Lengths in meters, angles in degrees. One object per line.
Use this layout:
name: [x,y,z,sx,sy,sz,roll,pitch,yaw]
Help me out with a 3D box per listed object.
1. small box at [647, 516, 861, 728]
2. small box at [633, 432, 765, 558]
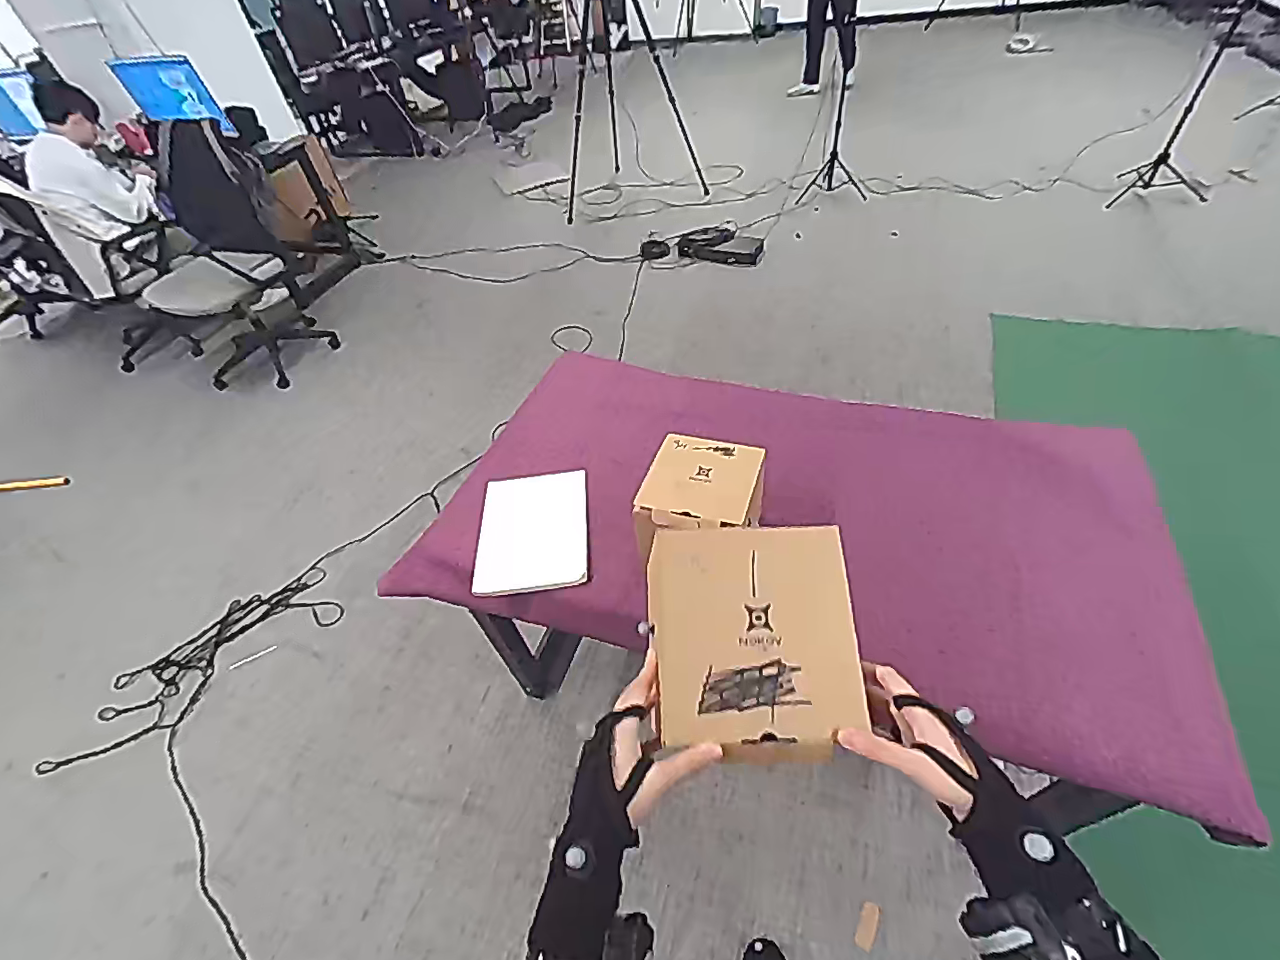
small box: [0.094,0.142,0.532,0.168,0.176,0.179,0,69,-2]
small box: [0.103,0.050,0.892,0.168,0.176,0.179,12,51,18]
